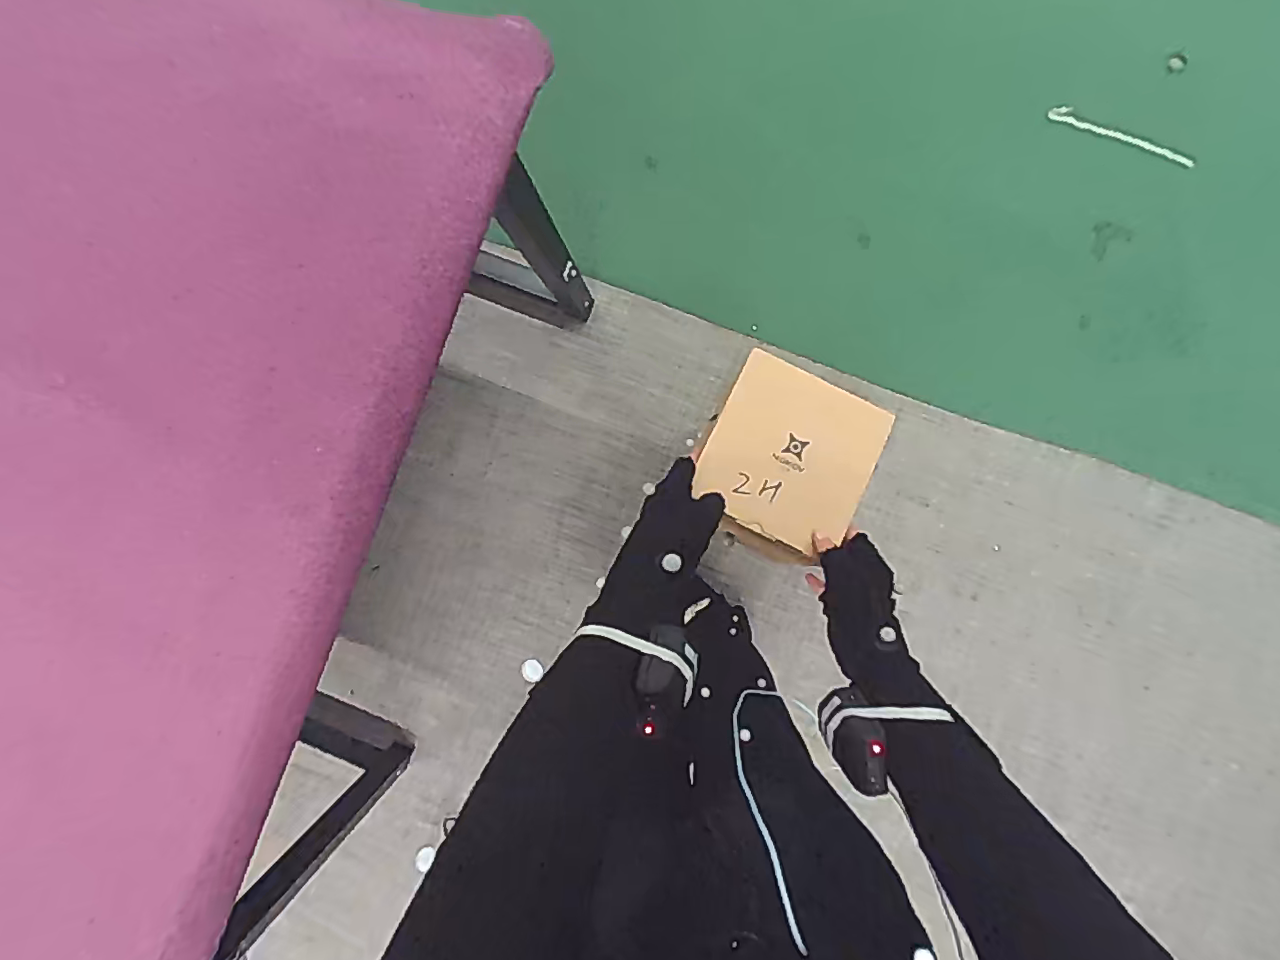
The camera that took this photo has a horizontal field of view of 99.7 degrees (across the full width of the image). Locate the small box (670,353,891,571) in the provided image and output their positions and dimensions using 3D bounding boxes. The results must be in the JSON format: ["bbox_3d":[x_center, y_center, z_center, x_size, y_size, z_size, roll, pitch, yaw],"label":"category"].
[{"bbox_3d":[0.147,-0.011,0.630,0.168,0.176,0.179,29,82,1],"label":"small box"}]
